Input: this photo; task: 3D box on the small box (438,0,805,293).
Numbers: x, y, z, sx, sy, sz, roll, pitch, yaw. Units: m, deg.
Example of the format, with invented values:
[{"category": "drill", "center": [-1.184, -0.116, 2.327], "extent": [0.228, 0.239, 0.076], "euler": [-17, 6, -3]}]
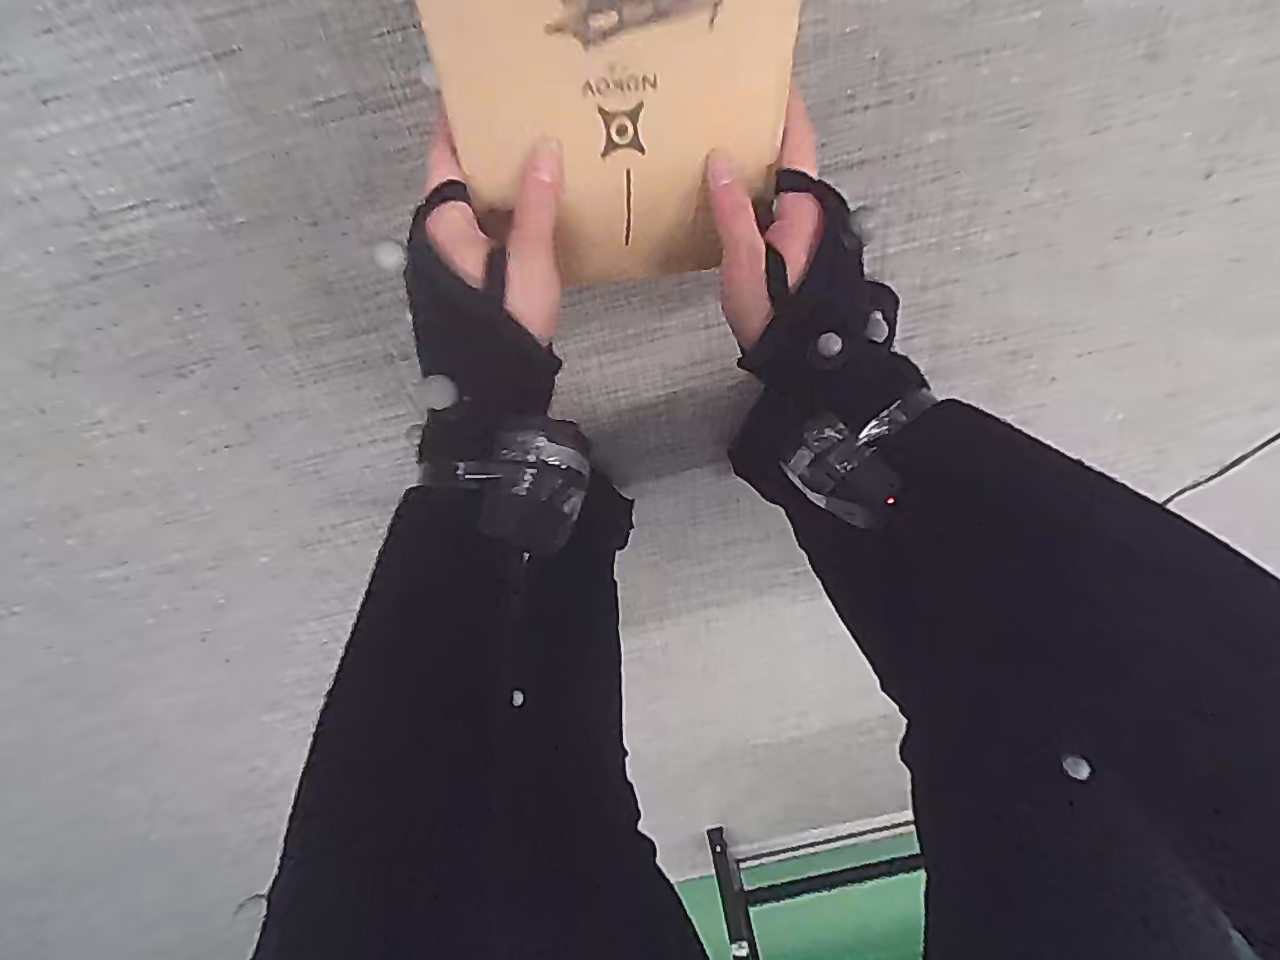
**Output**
[{"category": "small box", "center": [-0.021, -0.242, 0.322], "extent": [0.168, 0.176, 0.179], "euler": [-8, 144, -6]}]
